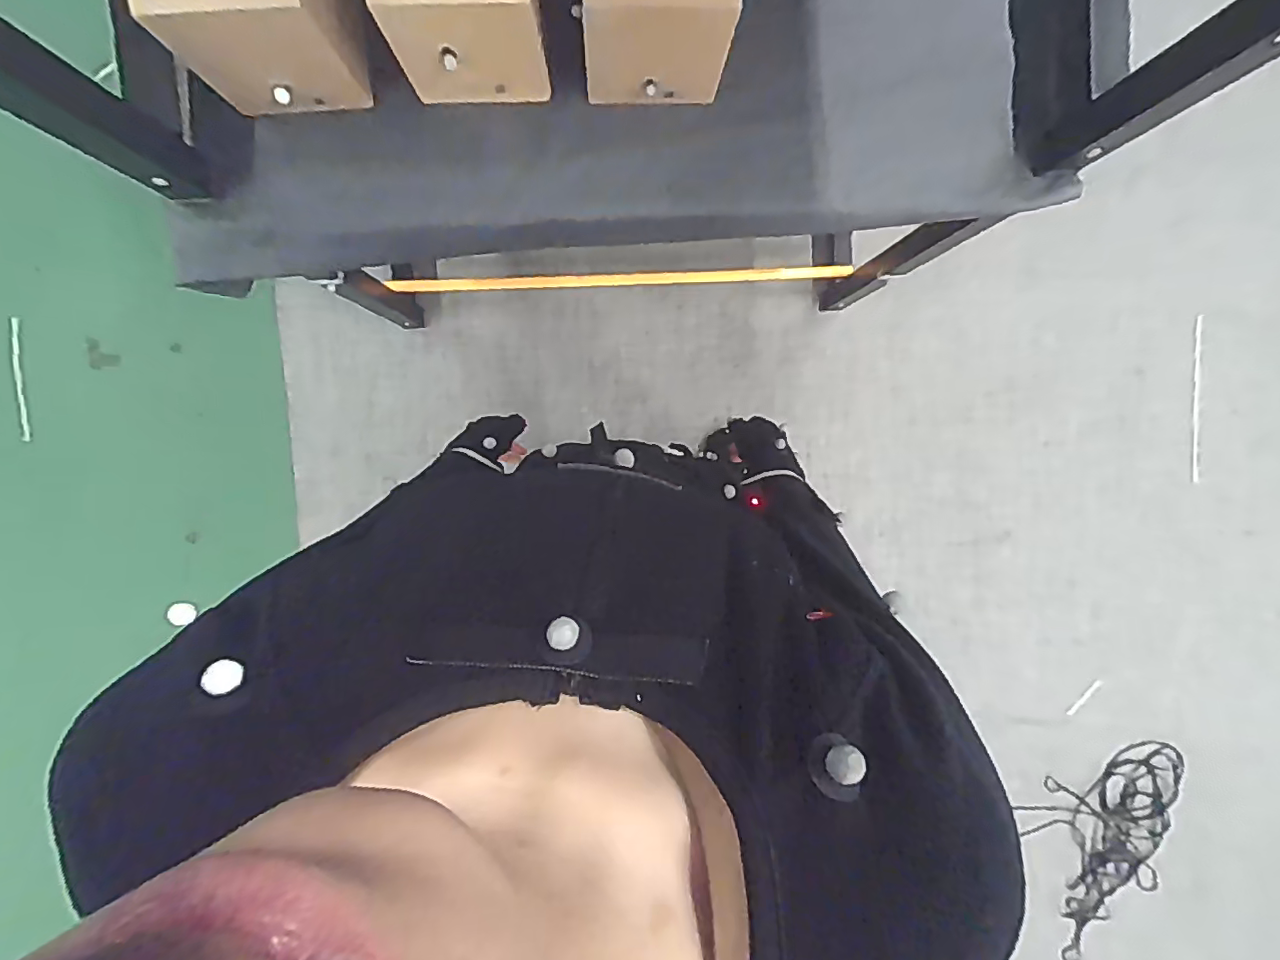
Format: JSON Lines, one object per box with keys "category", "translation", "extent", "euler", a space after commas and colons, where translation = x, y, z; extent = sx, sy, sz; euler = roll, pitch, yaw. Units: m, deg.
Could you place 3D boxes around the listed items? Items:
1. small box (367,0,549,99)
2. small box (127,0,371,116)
{"category": "small box", "translation": [-0.198, -0.567, 0.613], "extent": [0.168, 0.176, 0.179], "euler": [-3, 93, -2]}
{"category": "small box", "translation": [-0.424, -0.548, 0.601], "extent": [0.168, 0.176, 0.179], "euler": [-5, 95, -2]}
